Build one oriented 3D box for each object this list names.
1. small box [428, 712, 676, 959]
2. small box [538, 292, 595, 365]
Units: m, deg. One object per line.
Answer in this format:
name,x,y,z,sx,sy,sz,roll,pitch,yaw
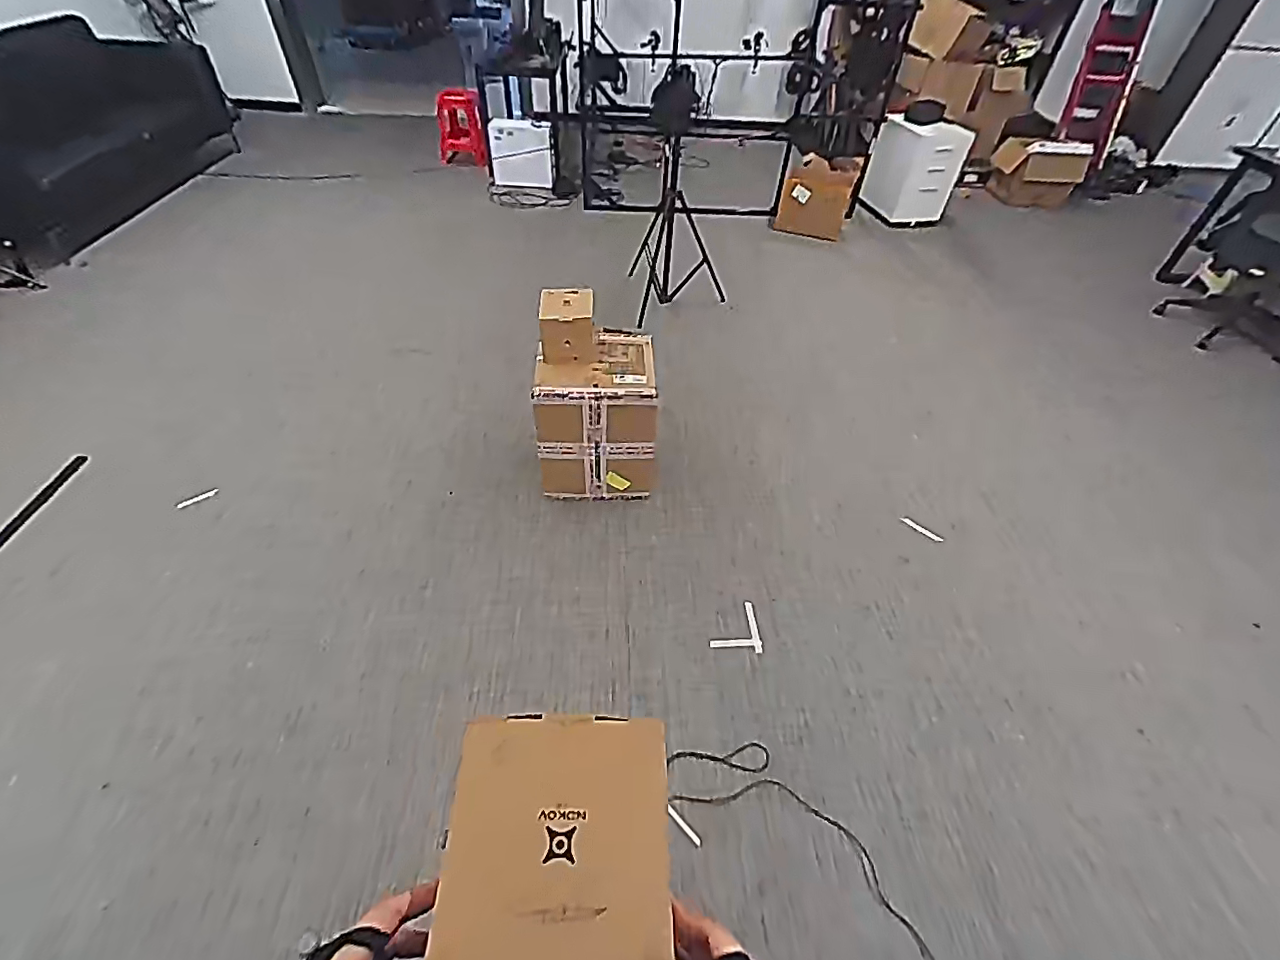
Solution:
small box,-0.066,0.318,0.461,0.168,0.176,0.179,3,49,-5
small box,-0.231,-0.486,1.750,0.168,0.176,0.179,-1,50,-3
